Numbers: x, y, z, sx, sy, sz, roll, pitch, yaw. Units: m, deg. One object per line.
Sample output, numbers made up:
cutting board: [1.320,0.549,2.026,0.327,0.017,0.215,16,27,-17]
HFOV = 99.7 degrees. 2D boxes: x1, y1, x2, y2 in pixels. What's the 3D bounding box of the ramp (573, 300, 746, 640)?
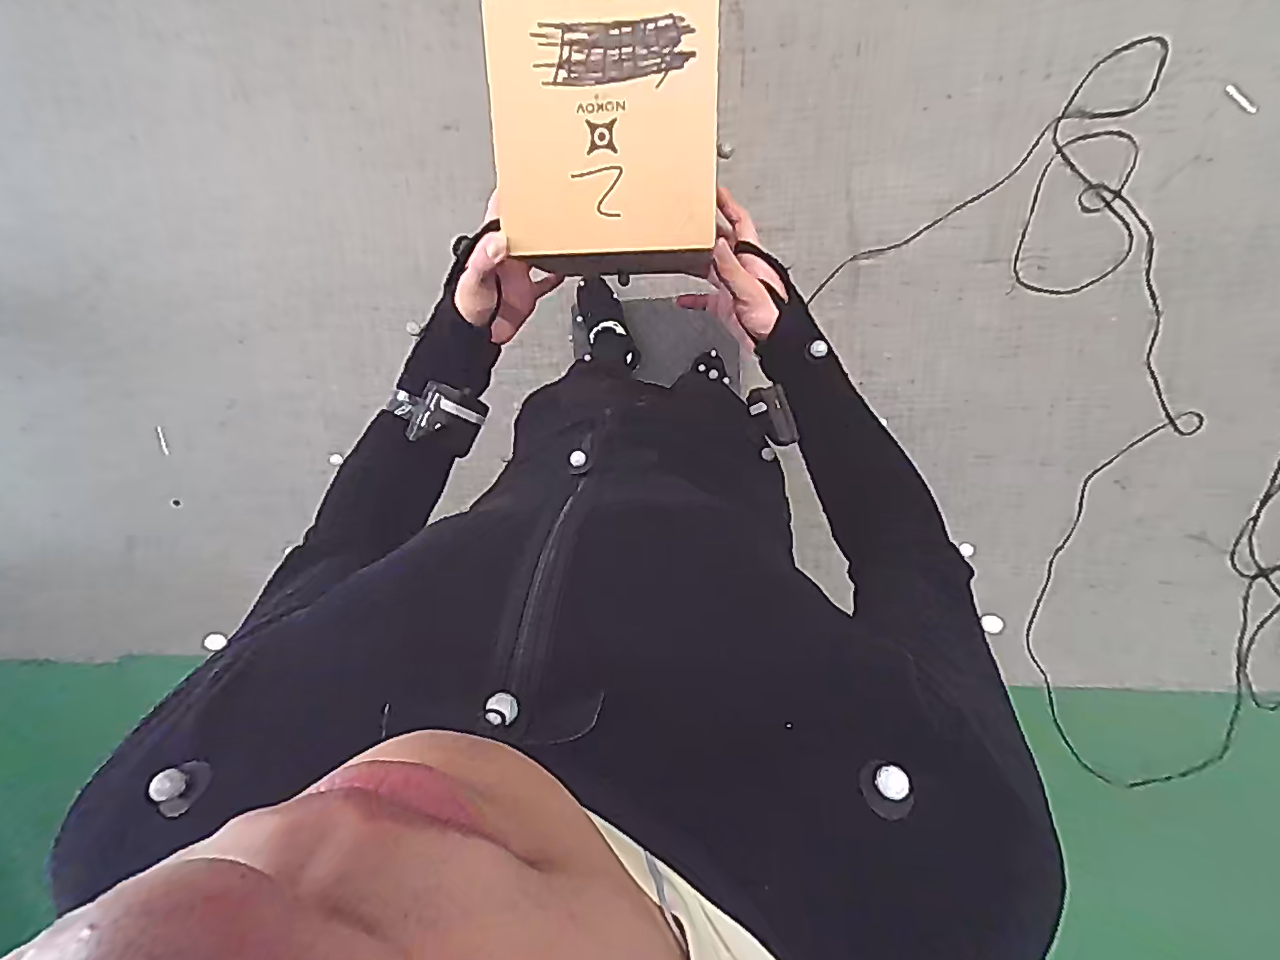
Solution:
ramp: [0.059,-0.010,1.612,0.509,0.206,0.991,-3,105,8]
